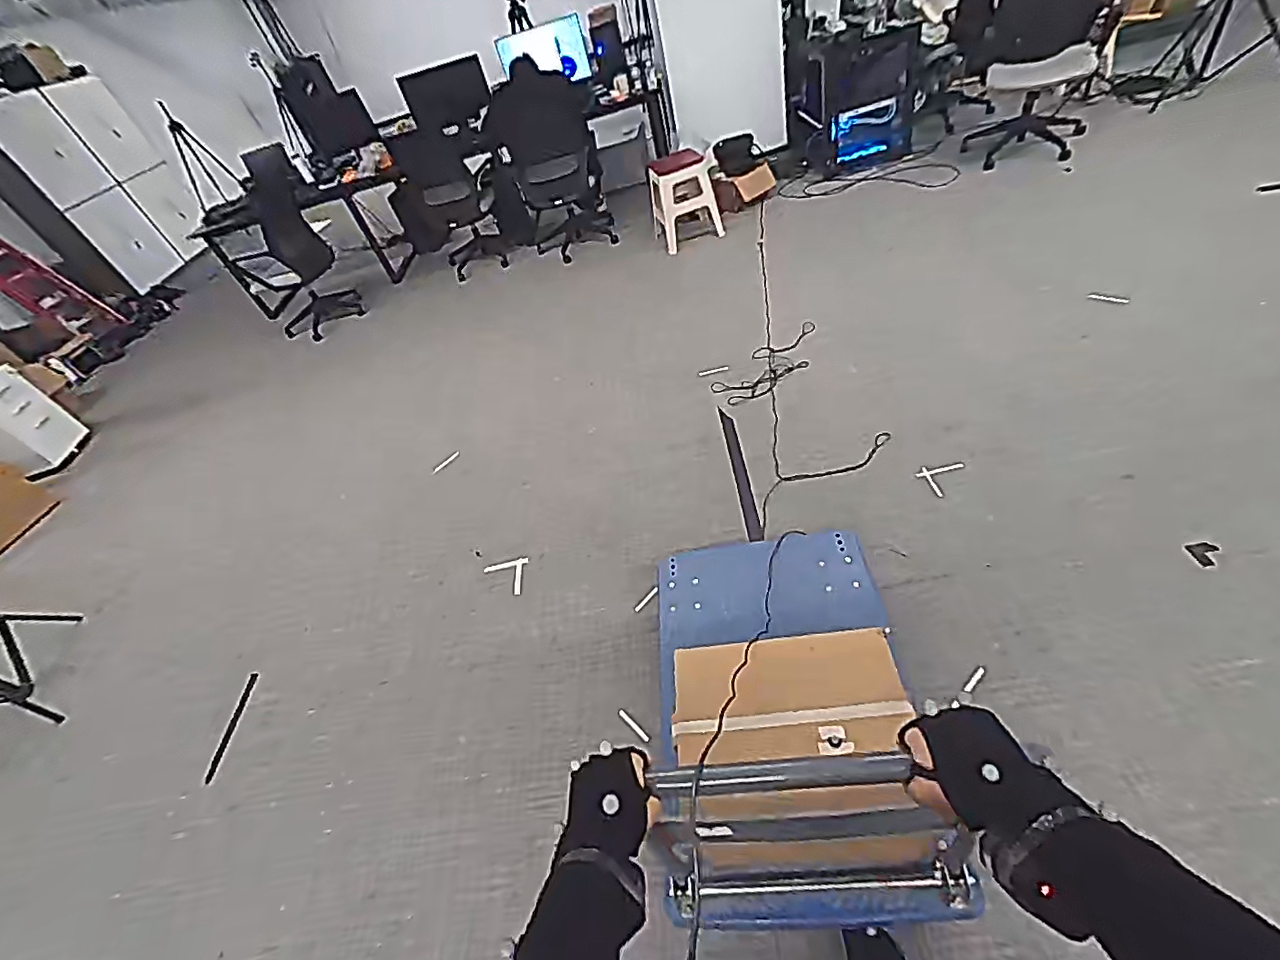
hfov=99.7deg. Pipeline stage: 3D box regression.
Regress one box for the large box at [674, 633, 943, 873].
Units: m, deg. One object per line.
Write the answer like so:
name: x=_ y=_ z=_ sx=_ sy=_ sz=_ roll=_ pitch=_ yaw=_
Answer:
large box: x=0.294 y=0.532 z=1.042 sx=0.408 sy=0.320 sz=0.320 roll=-9 pitch=44 yaw=10
